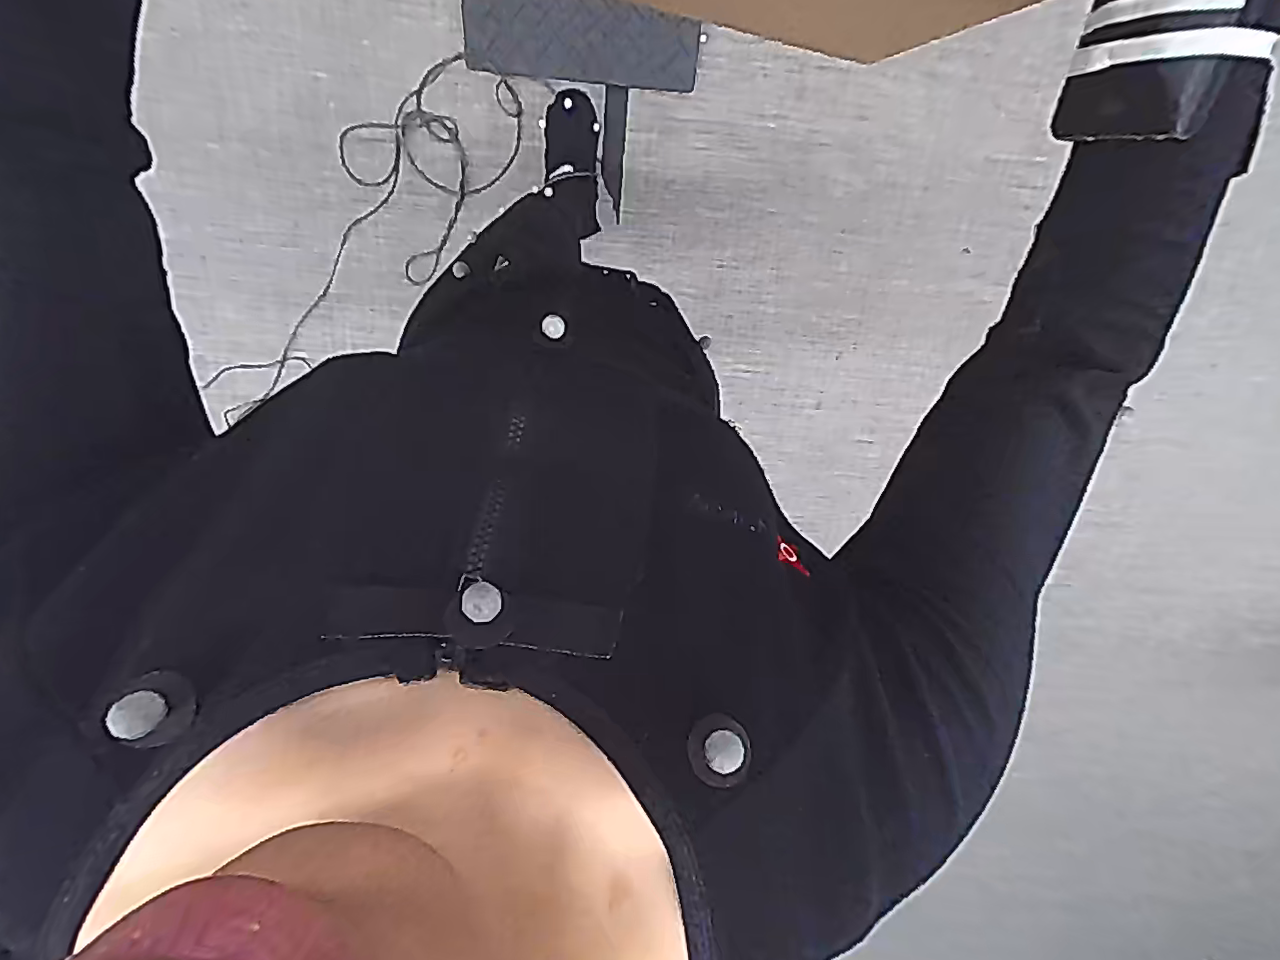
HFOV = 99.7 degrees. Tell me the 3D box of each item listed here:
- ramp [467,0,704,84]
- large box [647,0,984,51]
[{"bbox_3d":[-0.079,-1.299,0.905,0.509,0.206,0.991,1,113,-4],"label":"ramp"},{"bbox_3d":[0.059,-0.481,0.282,0.408,0.320,0.320,7,120,-9],"label":"large box"}]
